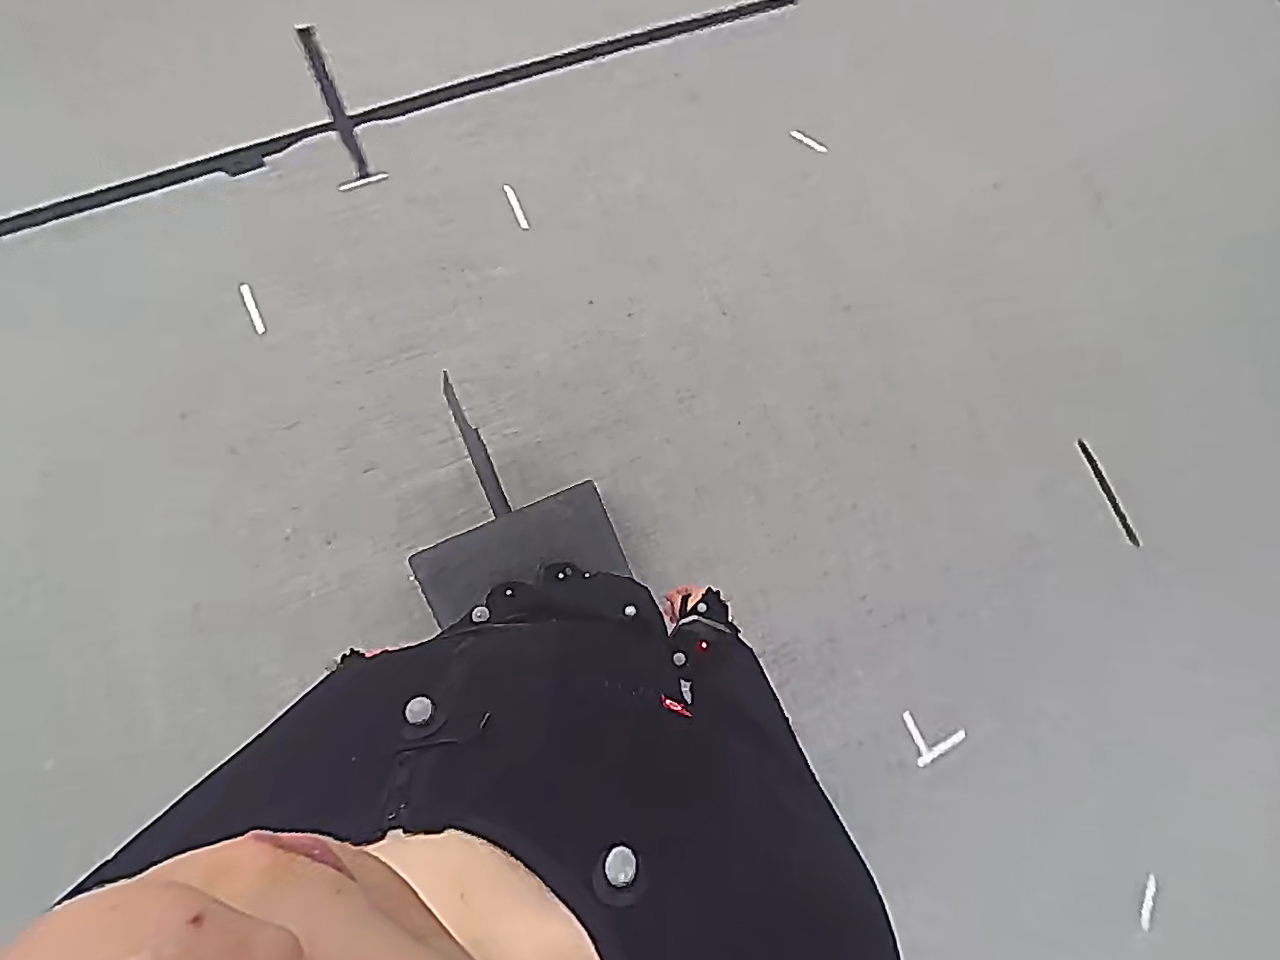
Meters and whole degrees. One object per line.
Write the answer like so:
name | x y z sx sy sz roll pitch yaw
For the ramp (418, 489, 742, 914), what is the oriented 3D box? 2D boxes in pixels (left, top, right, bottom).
ramp | -0.124 0.568 1.391 0.509 0.206 0.991 -26 86 -12
